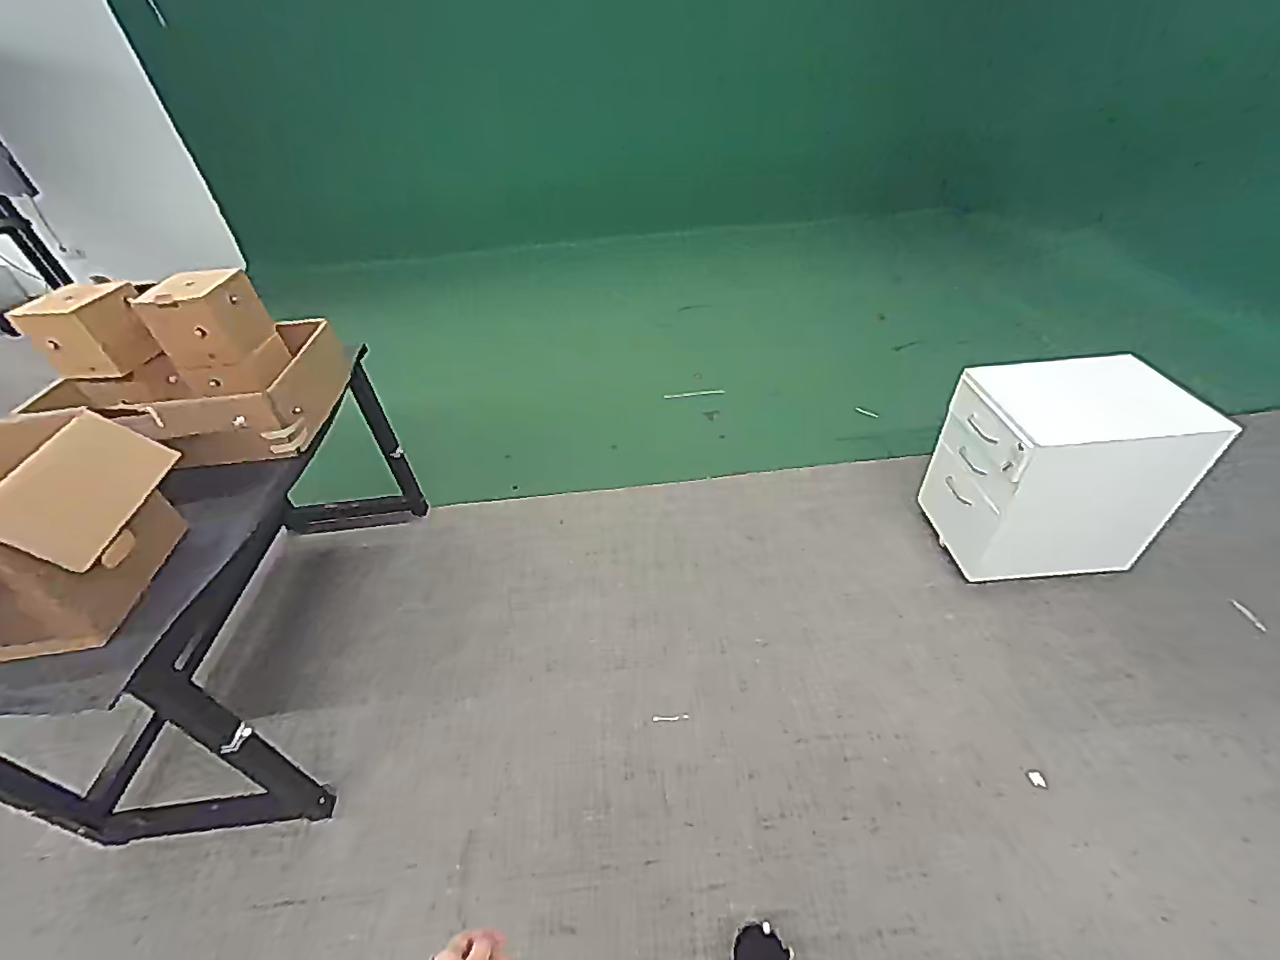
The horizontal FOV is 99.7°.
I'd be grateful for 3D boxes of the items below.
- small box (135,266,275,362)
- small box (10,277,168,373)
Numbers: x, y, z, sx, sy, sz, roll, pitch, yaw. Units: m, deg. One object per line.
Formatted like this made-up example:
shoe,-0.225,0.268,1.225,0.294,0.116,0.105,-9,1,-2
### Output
small box,-1.028,-0.395,1.300,0.168,0.176,0.179,-3,42,1
small box,-1.297,-0.368,1.295,0.168,0.176,0.179,0,41,4
